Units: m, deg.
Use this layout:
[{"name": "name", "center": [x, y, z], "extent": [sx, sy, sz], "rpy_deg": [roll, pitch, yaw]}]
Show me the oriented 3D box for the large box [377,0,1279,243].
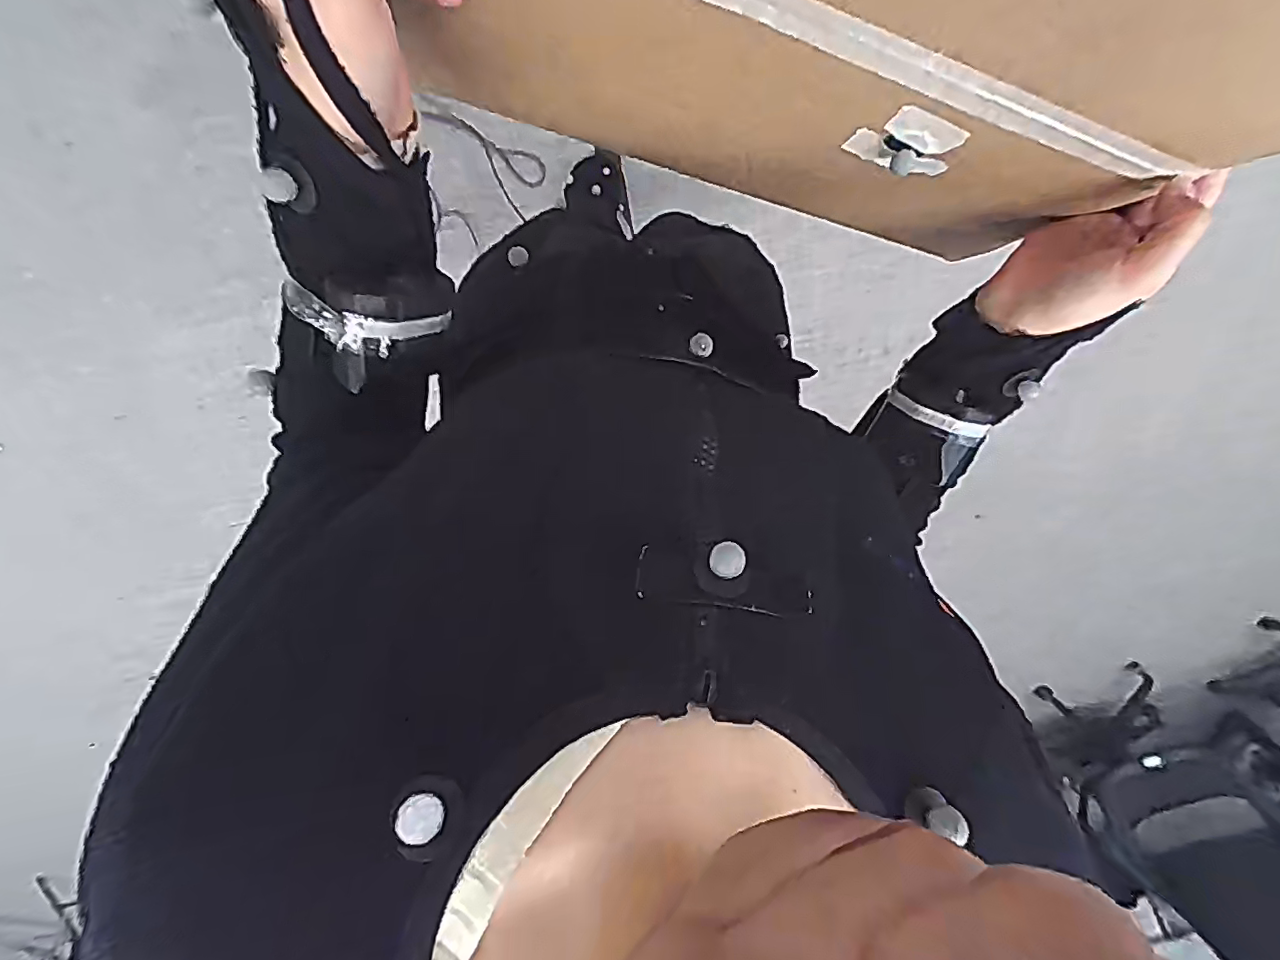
[{"name": "large box", "center": [0.105, -0.339, 0.212], "extent": [0.408, 0.320, 0.320], "rpy_deg": [8, 96, -14]}]
